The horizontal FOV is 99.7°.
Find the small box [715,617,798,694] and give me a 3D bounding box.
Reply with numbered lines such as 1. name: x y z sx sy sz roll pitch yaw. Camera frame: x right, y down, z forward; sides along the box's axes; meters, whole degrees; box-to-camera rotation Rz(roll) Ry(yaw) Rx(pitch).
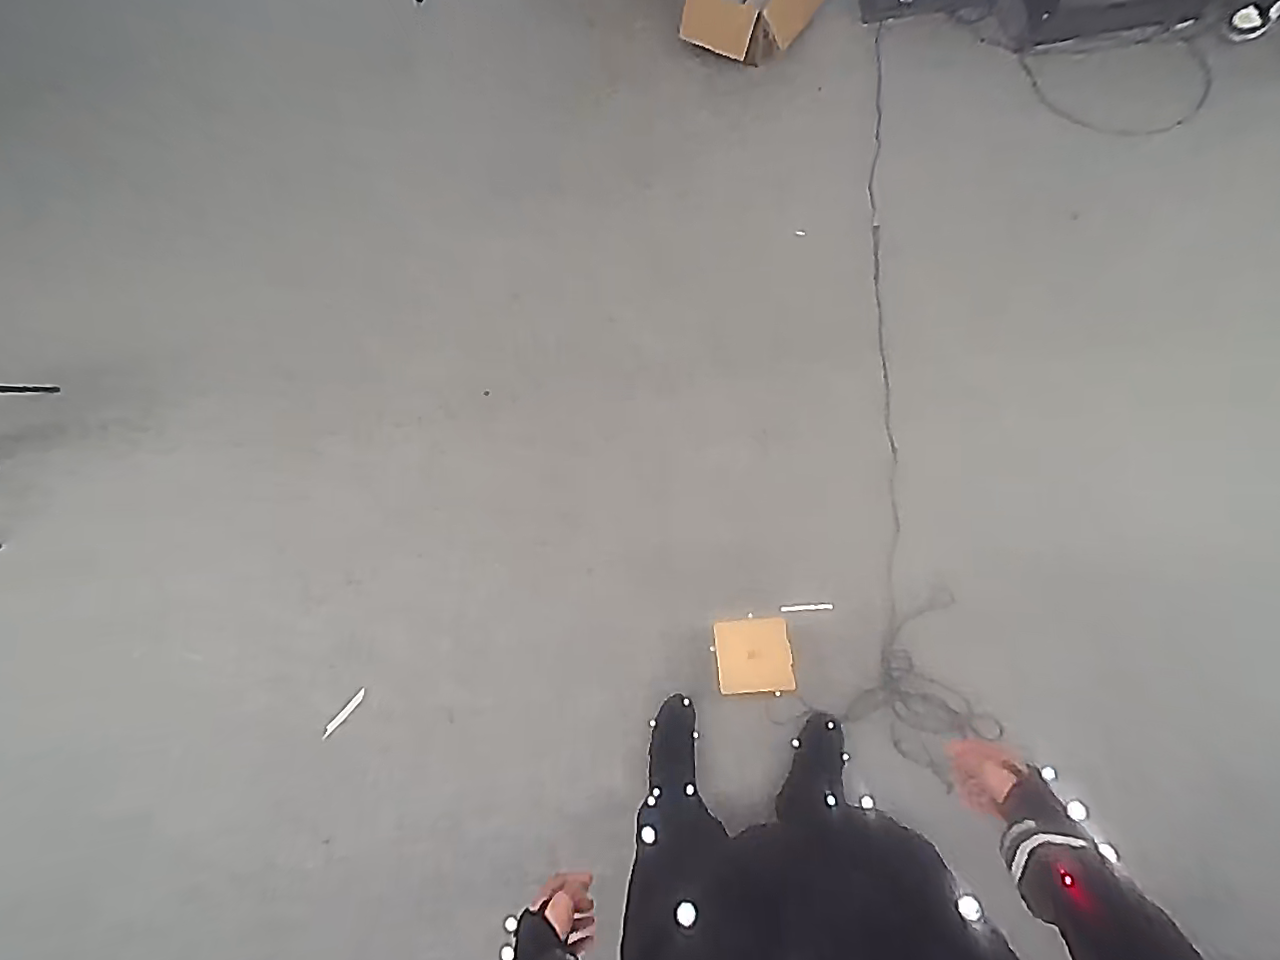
1. small box: 0.285 0.438 1.349 0.179 0.176 0.168 -7 72 6
